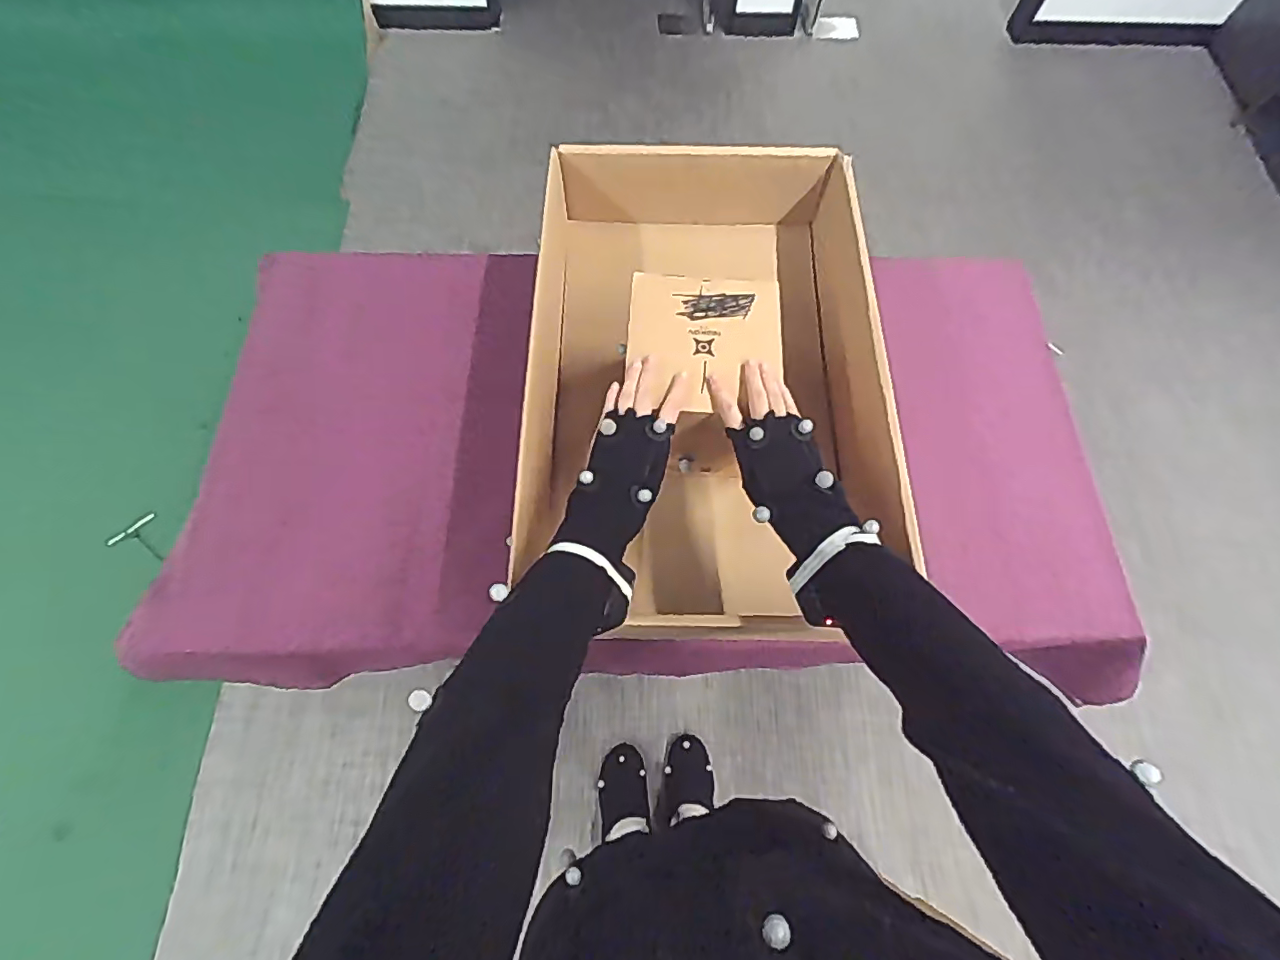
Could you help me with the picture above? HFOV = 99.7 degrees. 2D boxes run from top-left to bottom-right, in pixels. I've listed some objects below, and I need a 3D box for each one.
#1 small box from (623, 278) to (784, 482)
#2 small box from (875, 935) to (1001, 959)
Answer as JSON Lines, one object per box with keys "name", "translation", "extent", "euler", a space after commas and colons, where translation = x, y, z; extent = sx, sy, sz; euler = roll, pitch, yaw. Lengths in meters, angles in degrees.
{"name": "small box", "translation": [0.067, -0.112, 0.648], "extent": [0.168, 0.176, 0.179], "euler": [3, 69, 0]}
{"name": "small box", "translation": [0.464, 0.799, 0.789], "extent": [0.168, 0.176, 0.179], "euler": [1, 68, -1]}
